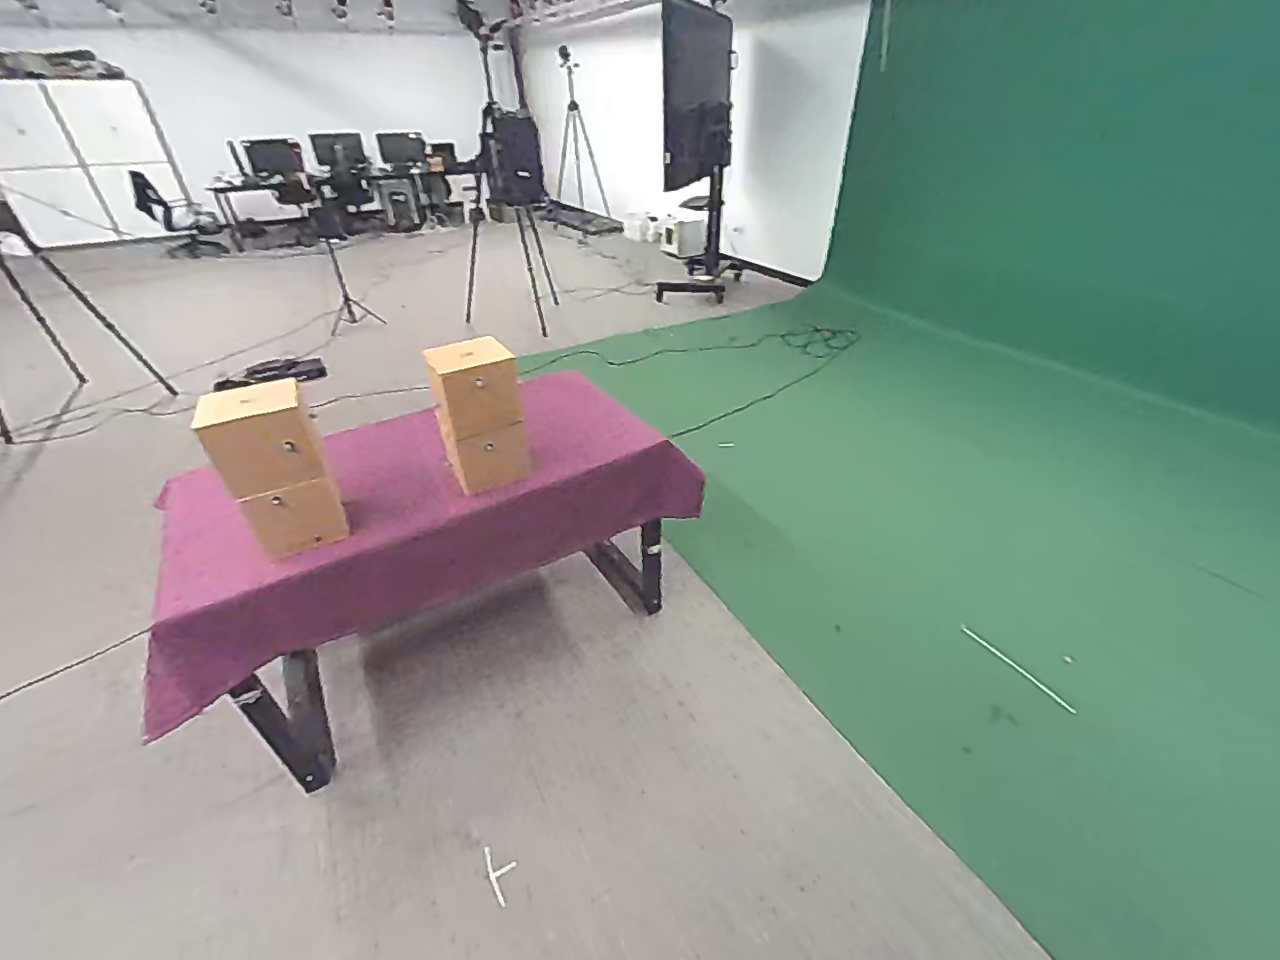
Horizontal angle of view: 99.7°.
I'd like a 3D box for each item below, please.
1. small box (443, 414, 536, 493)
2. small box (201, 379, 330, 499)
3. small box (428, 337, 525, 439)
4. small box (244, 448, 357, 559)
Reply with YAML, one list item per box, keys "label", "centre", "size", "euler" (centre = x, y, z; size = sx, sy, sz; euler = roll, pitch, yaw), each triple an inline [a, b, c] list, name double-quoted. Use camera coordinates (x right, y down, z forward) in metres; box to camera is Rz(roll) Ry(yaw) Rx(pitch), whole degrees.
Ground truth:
- label: "small box"
  centre: [-0.385, -0.089, 1.396]
  size: [0.179, 0.176, 0.168]
  euler: [-20, 39, -24]
- label: "small box"
  centre: [-0.766, -0.087, 1.129]
  size: [0.179, 0.176, 0.168]
  euler: [-19, 38, -22]
- label: "small box"
  centre: [-0.387, -0.223, 1.304]
  size: [0.179, 0.176, 0.168]
  euler: [-21, 40, -24]
- label: "small box"
  centre: [-0.762, 0.047, 1.223]
  size: [0.168, 0.176, 0.179]
  euler: [-20, 38, -23]
